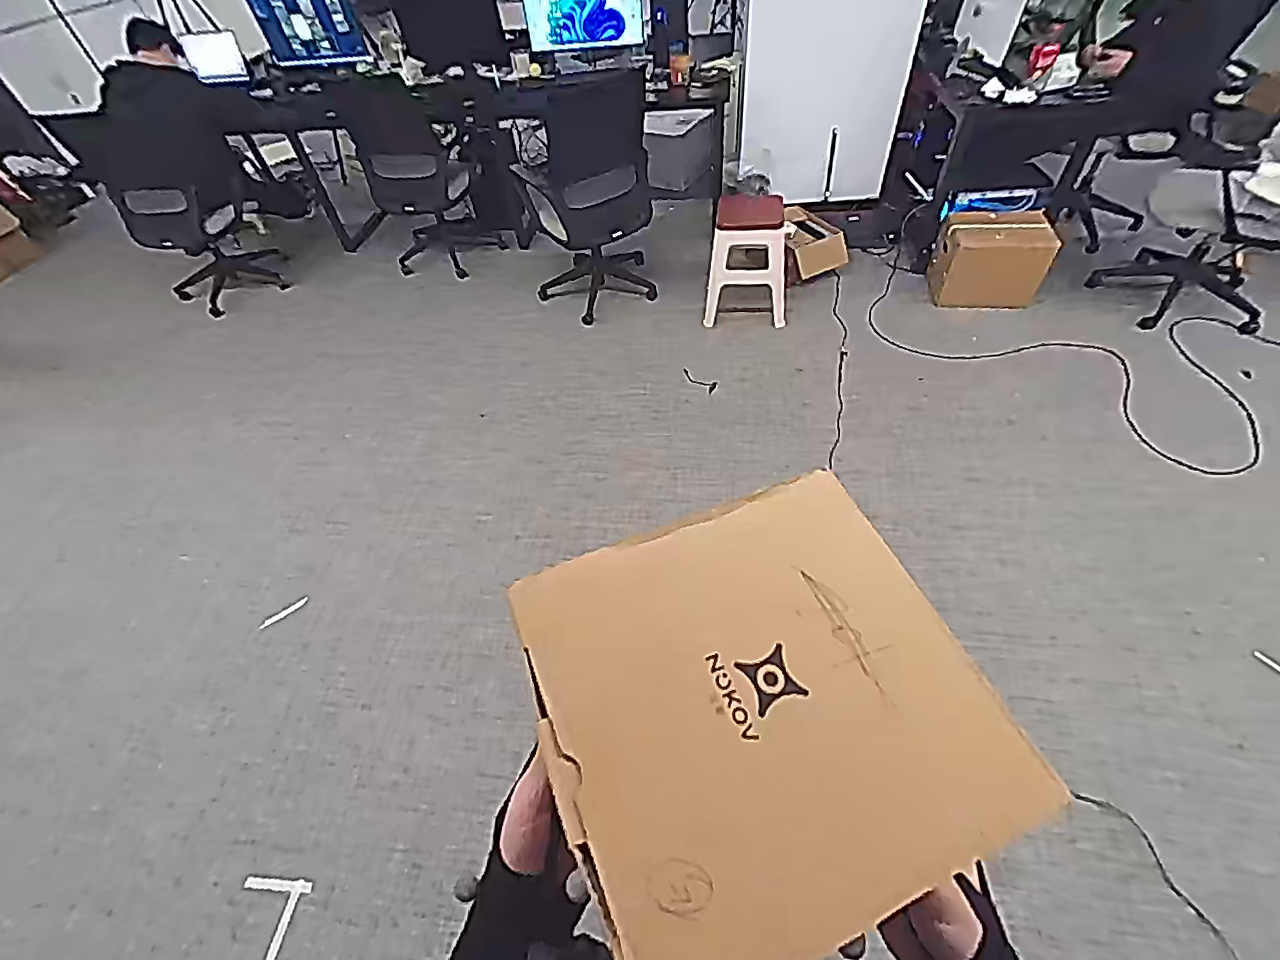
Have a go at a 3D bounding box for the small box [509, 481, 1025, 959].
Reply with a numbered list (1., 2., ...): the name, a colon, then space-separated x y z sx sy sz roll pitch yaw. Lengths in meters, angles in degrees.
1. small box: 0.045 0.133 0.303 0.179 0.176 0.168 -19 60 -15
